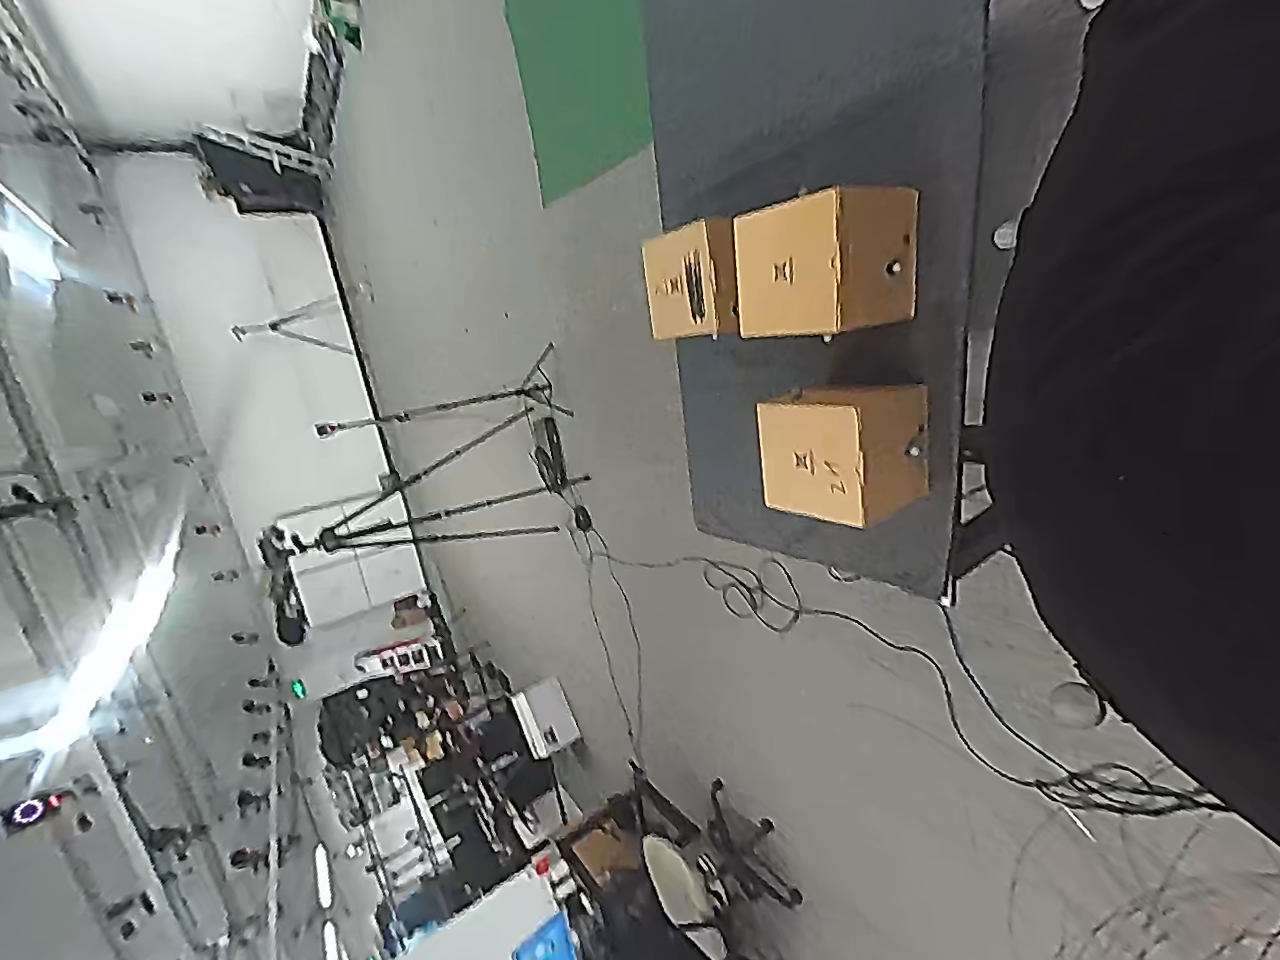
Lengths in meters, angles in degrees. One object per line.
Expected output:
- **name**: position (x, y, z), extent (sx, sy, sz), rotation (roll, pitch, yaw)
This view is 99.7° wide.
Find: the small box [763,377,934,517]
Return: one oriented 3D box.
- **small box**: position (0.312, -0.059, 0.814), extent (0.179, 0.176, 0.168), rotation (13, 116, 54)
